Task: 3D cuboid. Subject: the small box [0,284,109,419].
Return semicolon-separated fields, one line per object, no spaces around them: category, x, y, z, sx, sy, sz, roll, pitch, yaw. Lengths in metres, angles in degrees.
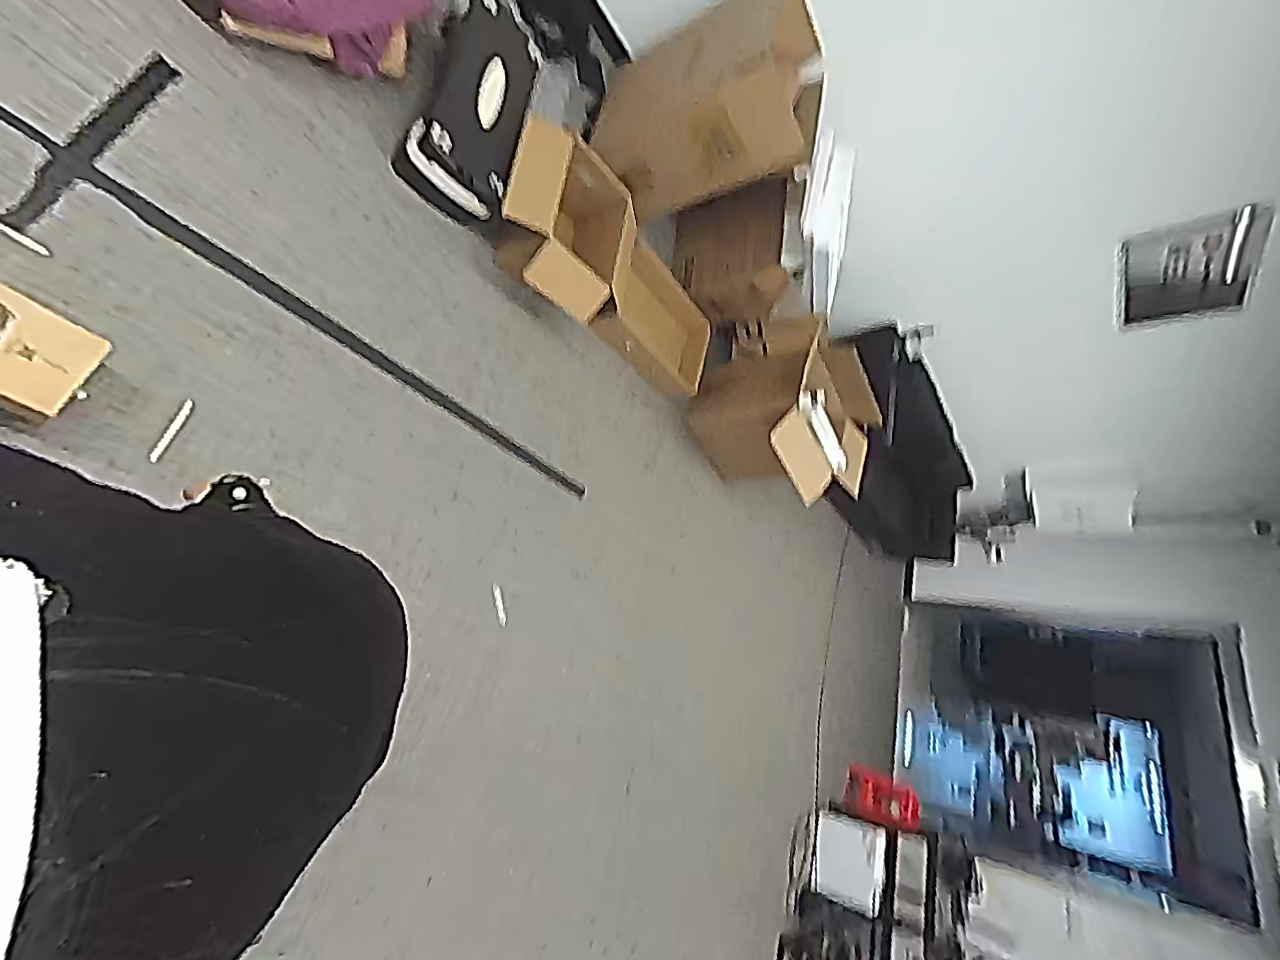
small box;-1.128;-0.223;0.971;0.179;0.176;0.168;42;57;-43
